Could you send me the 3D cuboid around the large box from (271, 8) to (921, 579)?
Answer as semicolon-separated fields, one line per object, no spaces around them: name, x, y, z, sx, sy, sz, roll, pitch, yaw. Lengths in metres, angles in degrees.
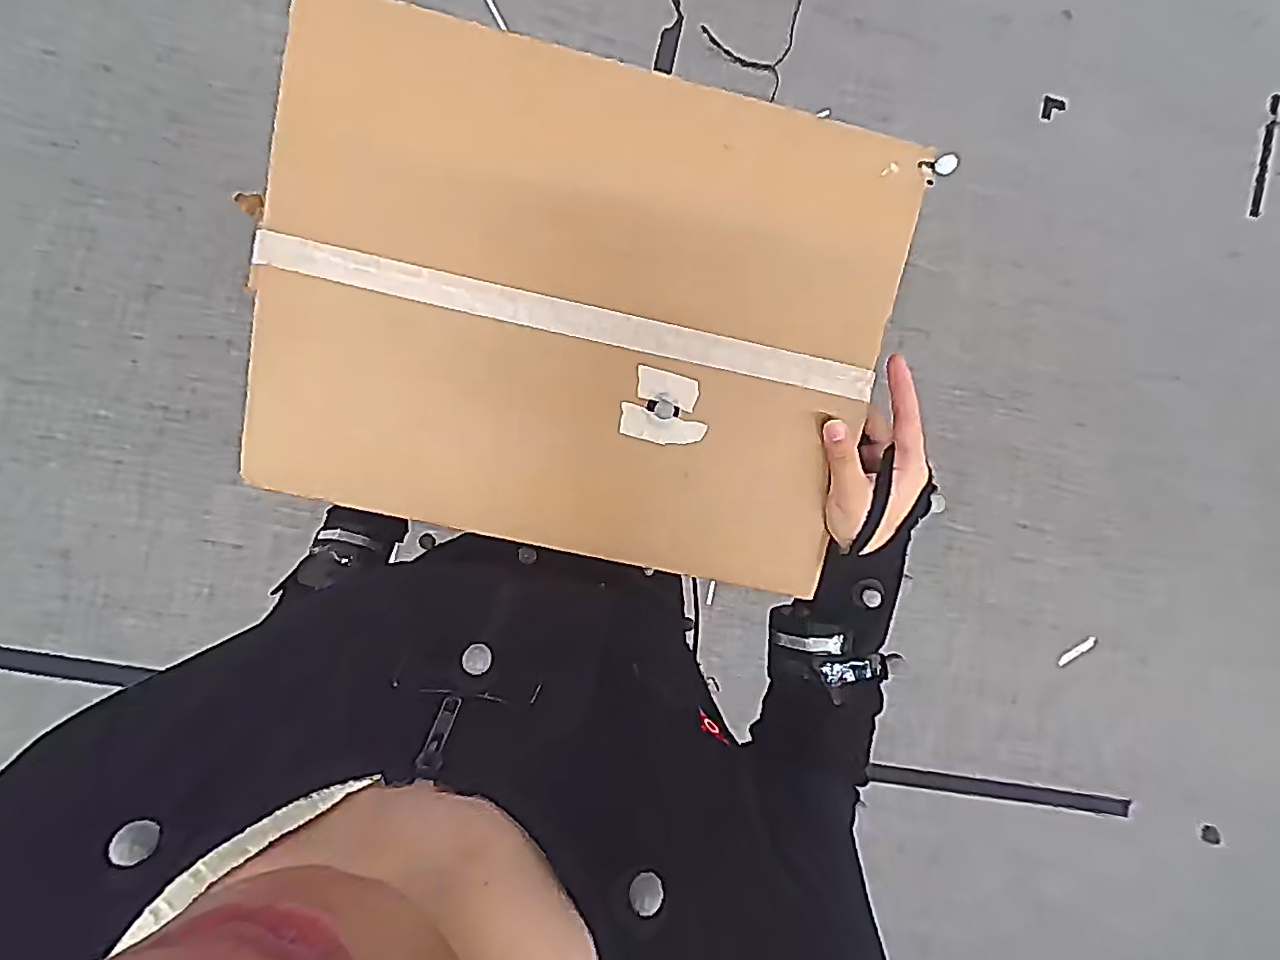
large box;-0.042;-0.130;0.513;0.408;0.320;0.320;11;99;-5
